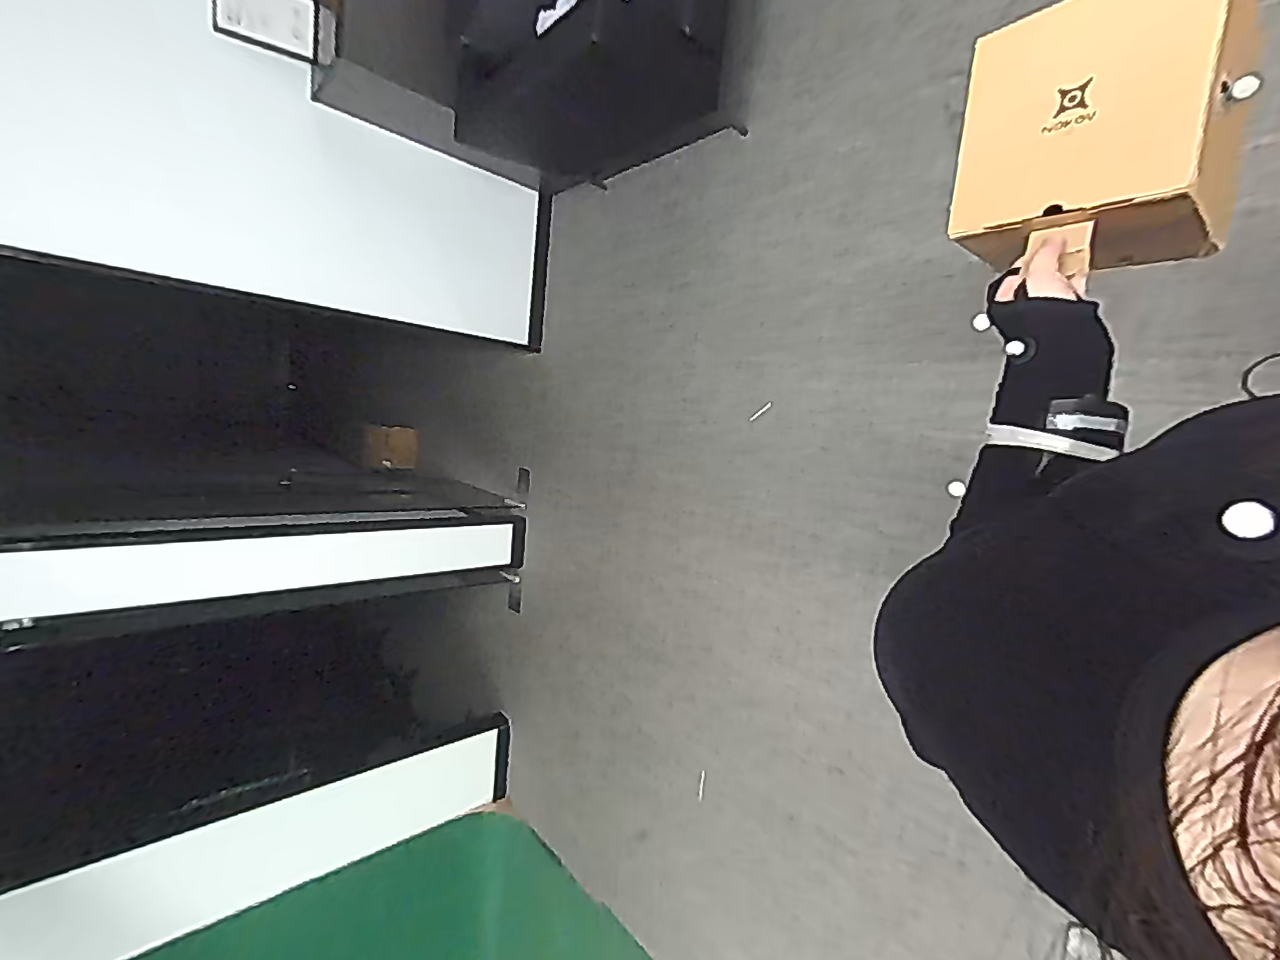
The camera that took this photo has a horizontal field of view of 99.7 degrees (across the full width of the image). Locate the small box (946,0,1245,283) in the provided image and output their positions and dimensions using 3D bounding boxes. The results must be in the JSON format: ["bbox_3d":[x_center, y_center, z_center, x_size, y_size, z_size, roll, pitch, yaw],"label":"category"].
[{"bbox_3d":[0.410,-0.296,0.491,0.168,0.176,0.179,13,101,50],"label":"small box"}]
